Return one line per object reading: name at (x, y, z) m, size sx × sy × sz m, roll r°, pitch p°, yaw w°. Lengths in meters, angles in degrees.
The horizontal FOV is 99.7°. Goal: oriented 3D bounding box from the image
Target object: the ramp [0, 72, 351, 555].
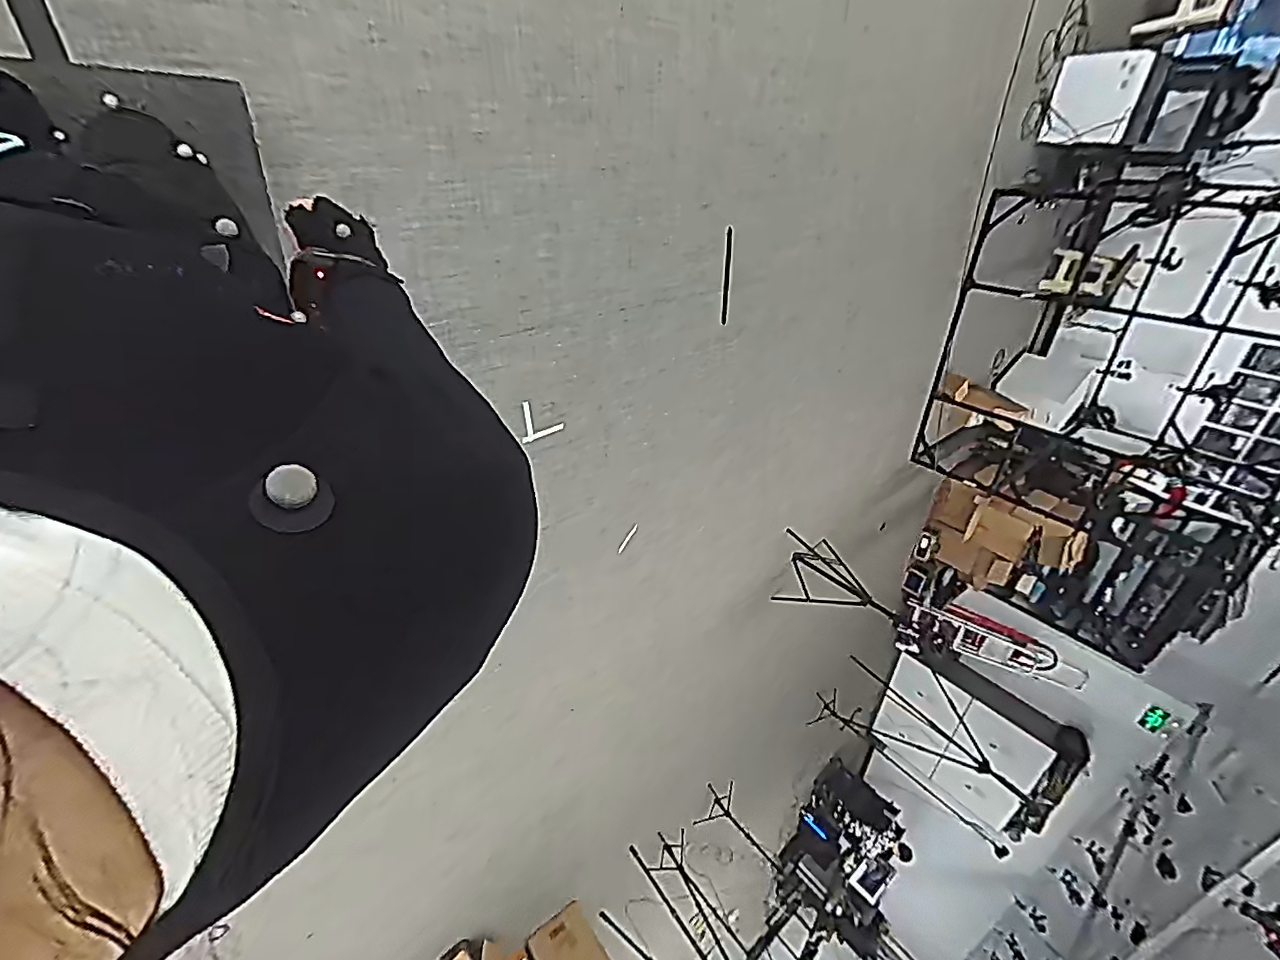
ramp at (-0.990, -0.271, 1.183) m, size 0.509 × 0.206 × 0.991 m, roll -25°, pitch 129°, yaw -33°
